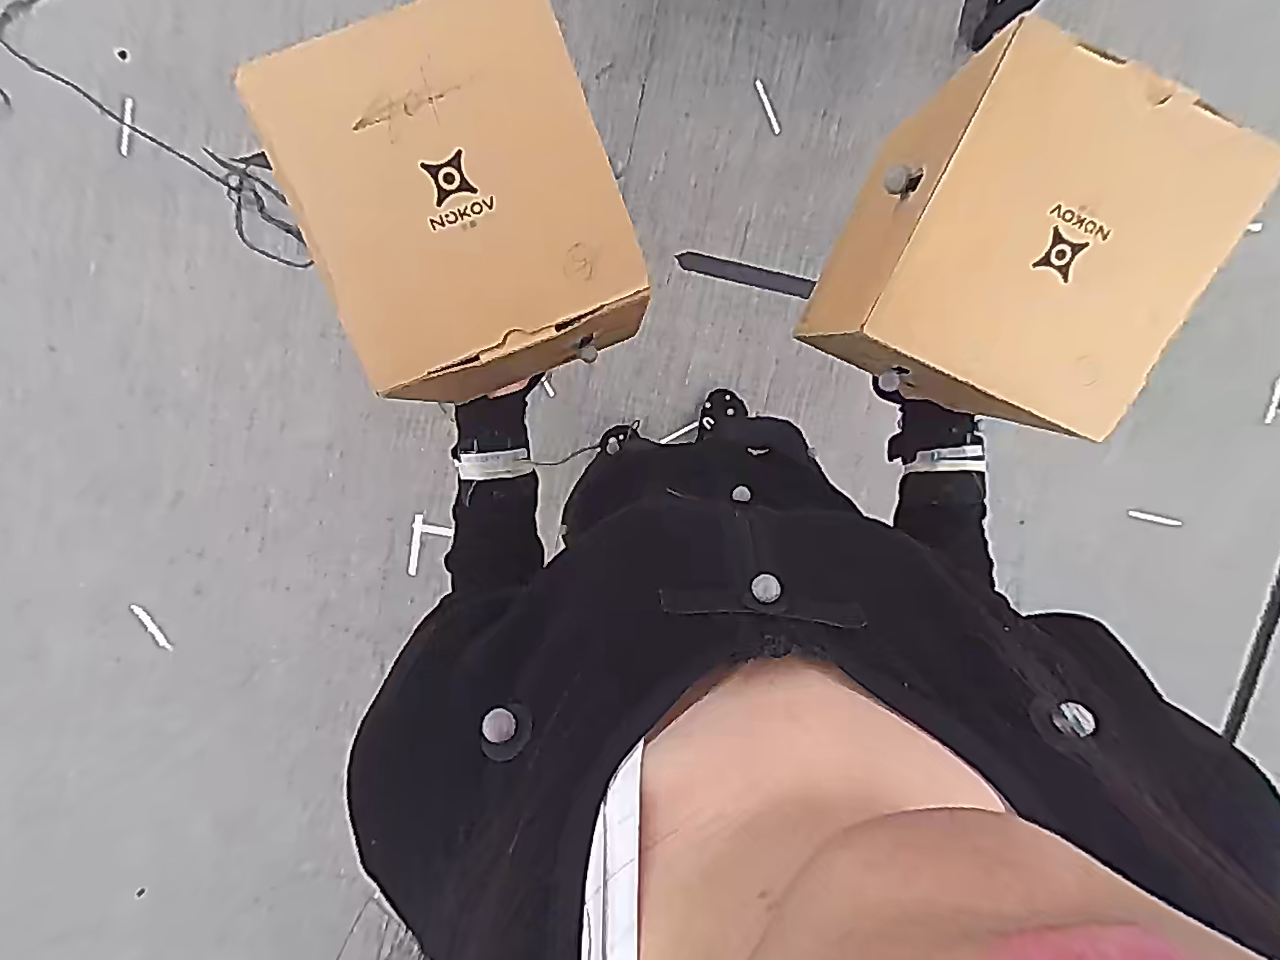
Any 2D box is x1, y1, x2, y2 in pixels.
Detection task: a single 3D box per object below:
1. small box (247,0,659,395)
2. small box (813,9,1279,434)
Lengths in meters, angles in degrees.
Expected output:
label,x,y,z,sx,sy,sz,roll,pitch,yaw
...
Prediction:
label,x,y,z,sx,sy,sz,roll,pitch,yaw
small box,-0.098,-0.166,0.364,0.168,0.176,0.179,-22,97,-2
small box,0.242,-0.152,0.378,0.168,0.176,0.179,22,102,-3
